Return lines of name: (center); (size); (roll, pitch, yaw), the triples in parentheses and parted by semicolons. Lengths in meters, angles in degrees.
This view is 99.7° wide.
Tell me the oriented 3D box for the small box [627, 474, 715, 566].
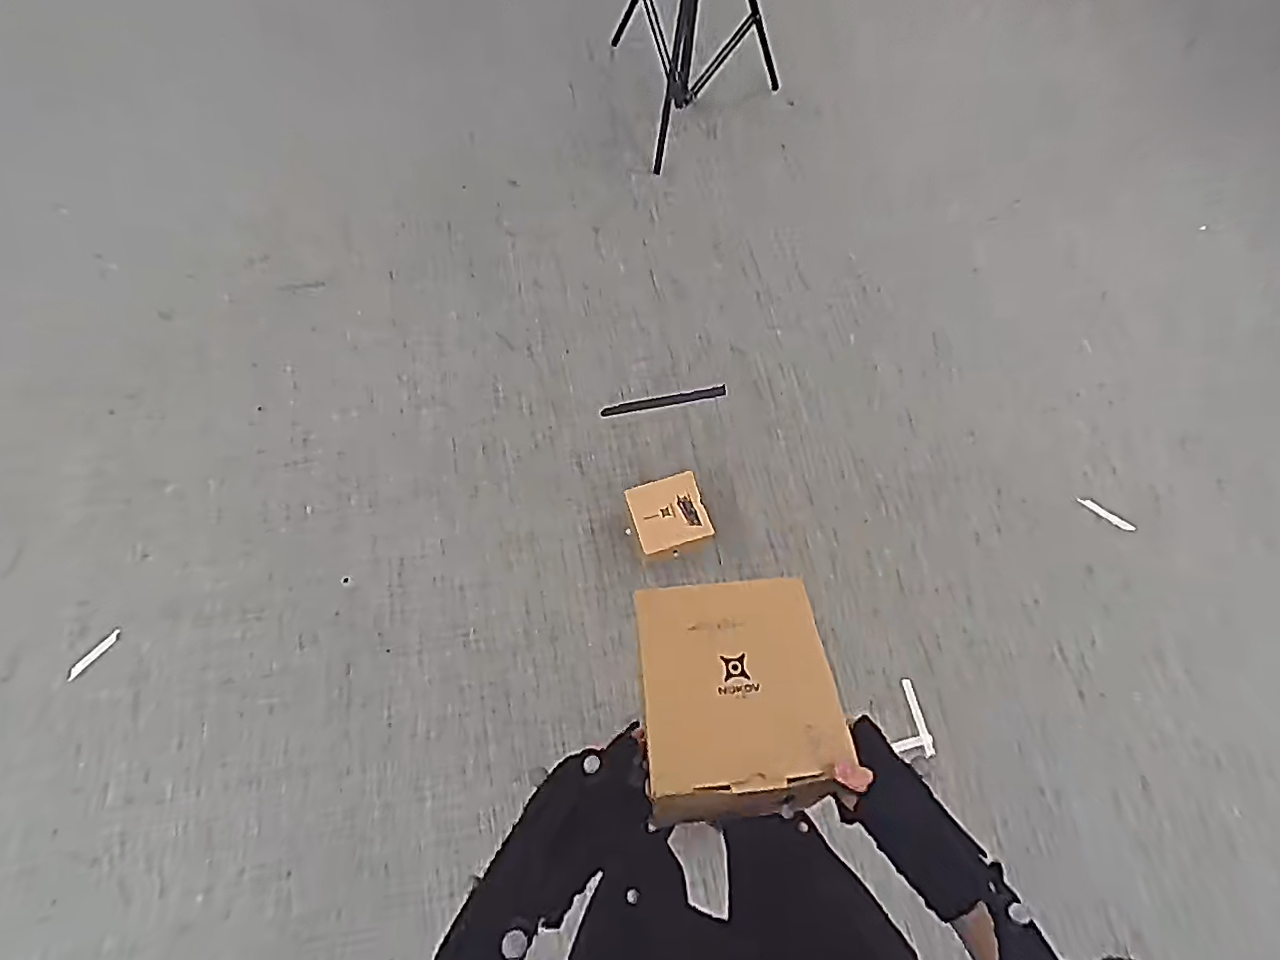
small box: (0.069, 0.104, 1.348); (0.179, 0.176, 0.168); (-16, 74, -6)
